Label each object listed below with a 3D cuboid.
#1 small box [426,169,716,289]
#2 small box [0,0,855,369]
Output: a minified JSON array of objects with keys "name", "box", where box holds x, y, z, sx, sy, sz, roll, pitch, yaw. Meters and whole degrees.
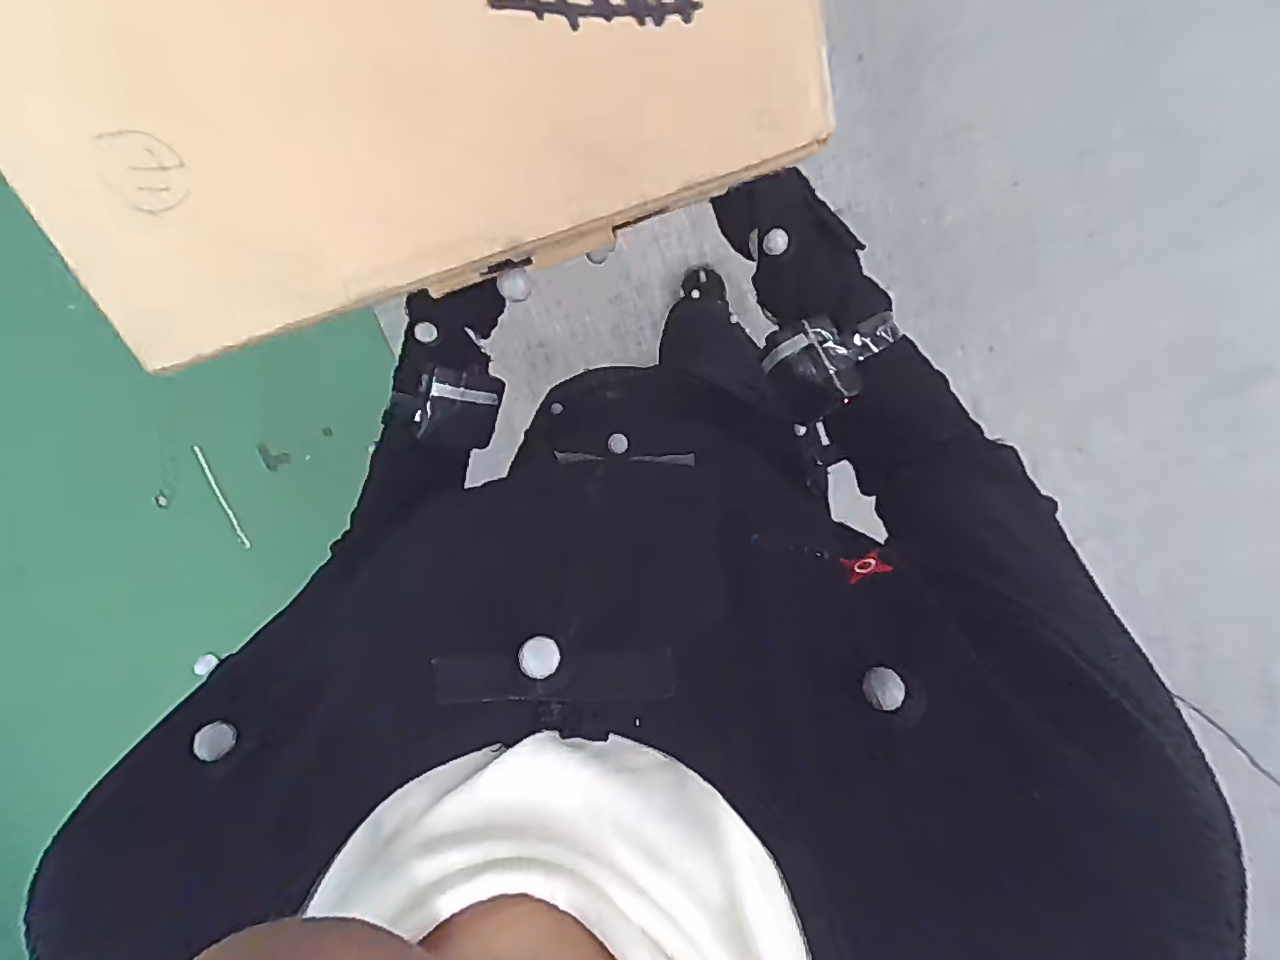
[{"name":"small box","box":[-0.060,-0.232,0.306,0.168,0.176,0.179,-15,117,10]},{"name":"small box","box":[-0.062,-0.157,0.159,0.179,0.176,0.168,-17,116,10]}]
